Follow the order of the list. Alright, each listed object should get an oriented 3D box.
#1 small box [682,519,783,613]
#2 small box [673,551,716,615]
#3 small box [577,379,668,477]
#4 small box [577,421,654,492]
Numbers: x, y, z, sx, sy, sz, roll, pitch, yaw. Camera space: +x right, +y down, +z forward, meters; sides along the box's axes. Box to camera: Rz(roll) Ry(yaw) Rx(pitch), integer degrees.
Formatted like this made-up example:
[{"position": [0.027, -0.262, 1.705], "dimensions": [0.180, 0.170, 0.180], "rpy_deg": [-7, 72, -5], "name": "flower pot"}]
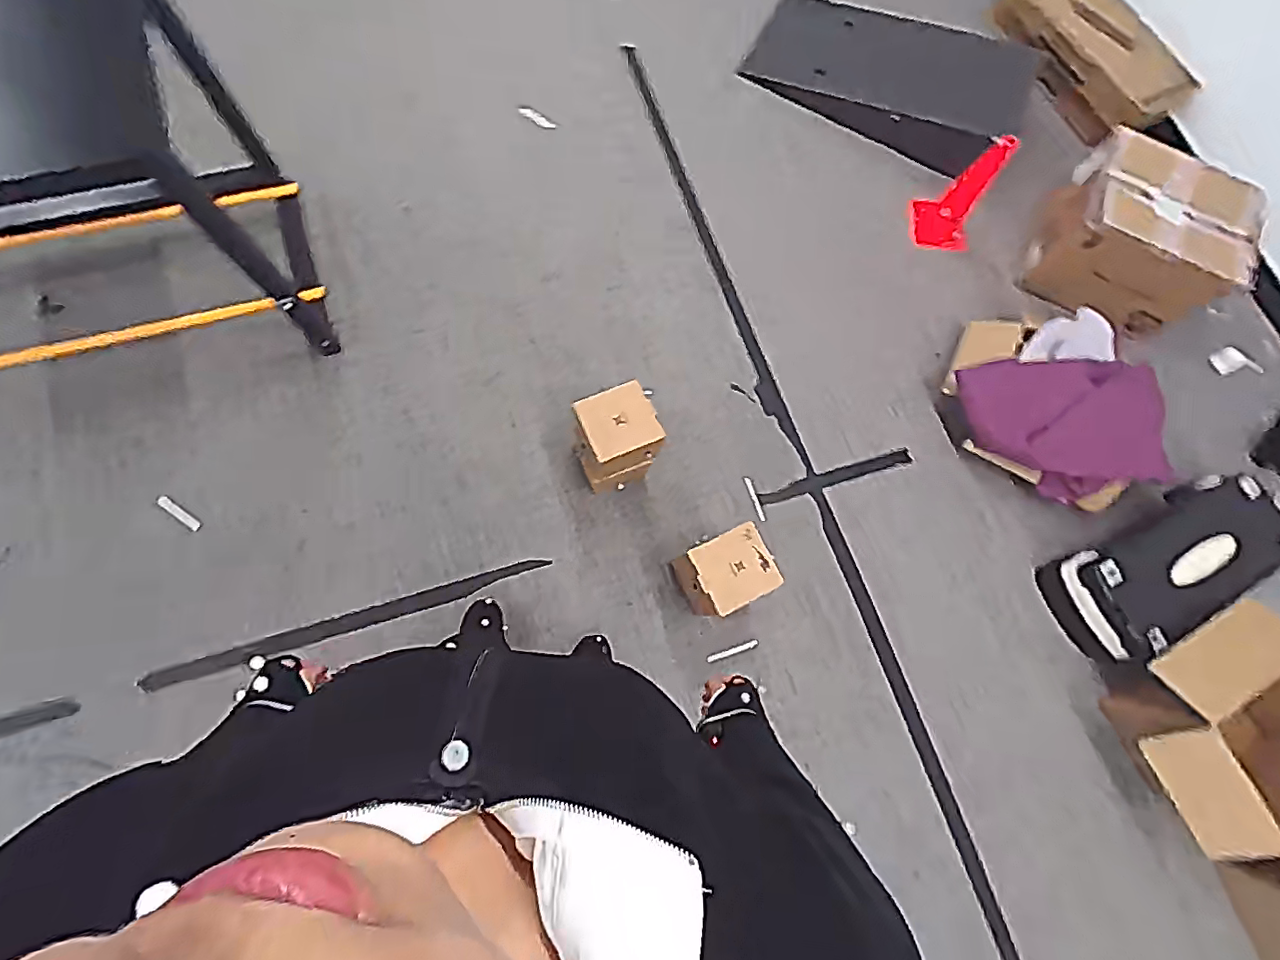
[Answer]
[{"position": [0.213, 0.215, 1.315], "dimensions": [0.179, 0.176, 0.168], "rpy_deg": [-24, 80, -10], "name": "small box"}, {"position": [0.206, 0.253, 1.474], "dimensions": [0.168, 0.176, 0.179], "rpy_deg": [-23, 79, -11], "name": "small box"}, {"position": [-0.049, -0.126, 1.372], "dimensions": [0.179, 0.176, 0.168], "rpy_deg": [-23, 78, -10], "name": "small box"}, {"position": [-0.076, -0.084, 1.527], "dimensions": [0.168, 0.176, 0.179], "rpy_deg": [-20, 79, -10], "name": "small box"}]
